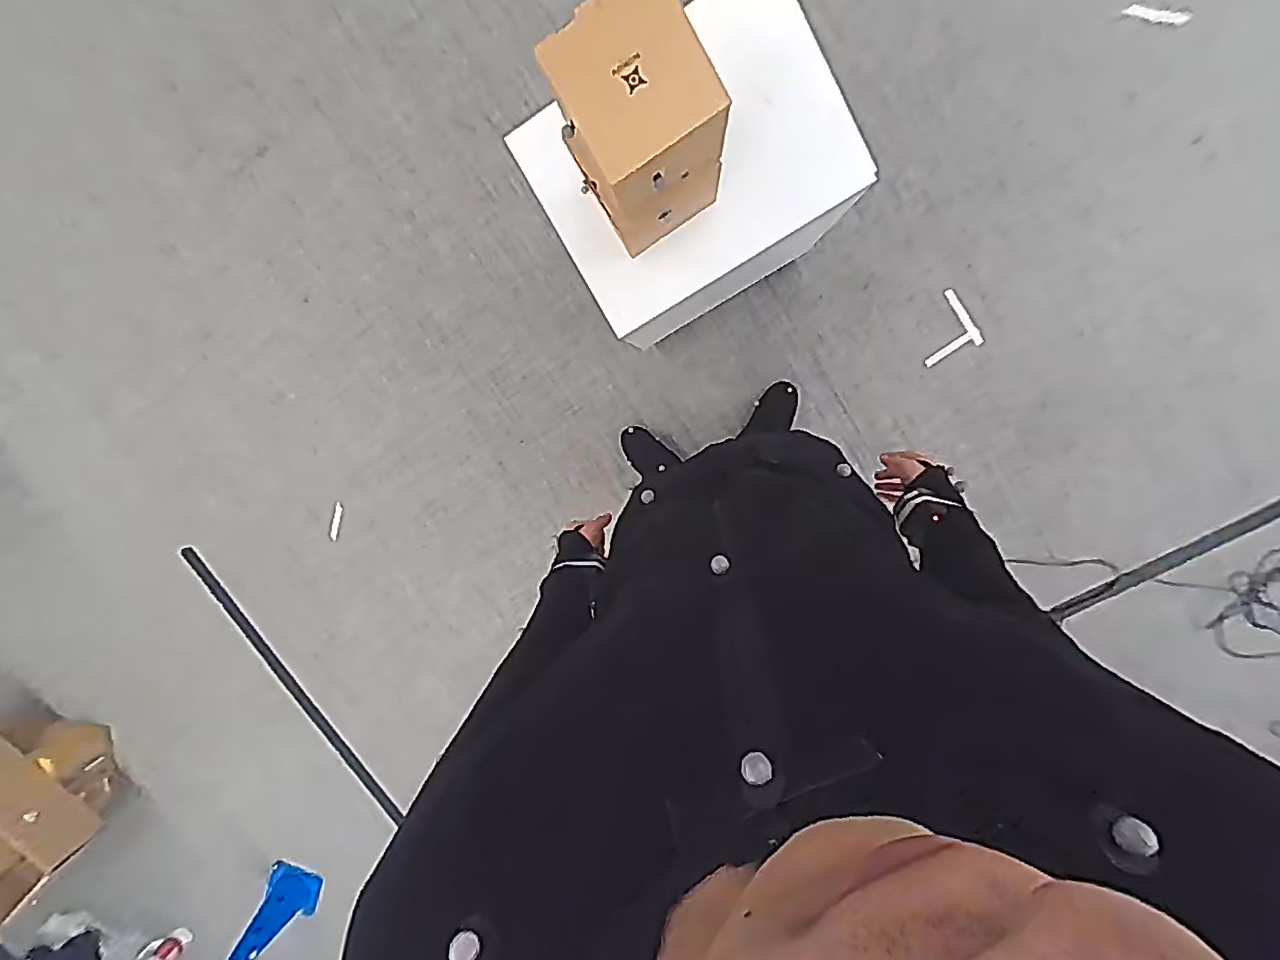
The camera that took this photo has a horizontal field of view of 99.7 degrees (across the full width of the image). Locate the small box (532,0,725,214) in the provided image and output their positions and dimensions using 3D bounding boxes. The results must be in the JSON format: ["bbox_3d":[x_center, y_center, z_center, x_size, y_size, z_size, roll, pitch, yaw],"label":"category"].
[{"bbox_3d":[-0.006,-0.473,0.696,0.168,0.176,0.179,-31,96,10],"label":"small box"}]

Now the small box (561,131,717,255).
[{"bbox_3d":[0.005,-0.487,0.858,0.179,0.176,0.168,-32,97,9],"label":"small box"}]
